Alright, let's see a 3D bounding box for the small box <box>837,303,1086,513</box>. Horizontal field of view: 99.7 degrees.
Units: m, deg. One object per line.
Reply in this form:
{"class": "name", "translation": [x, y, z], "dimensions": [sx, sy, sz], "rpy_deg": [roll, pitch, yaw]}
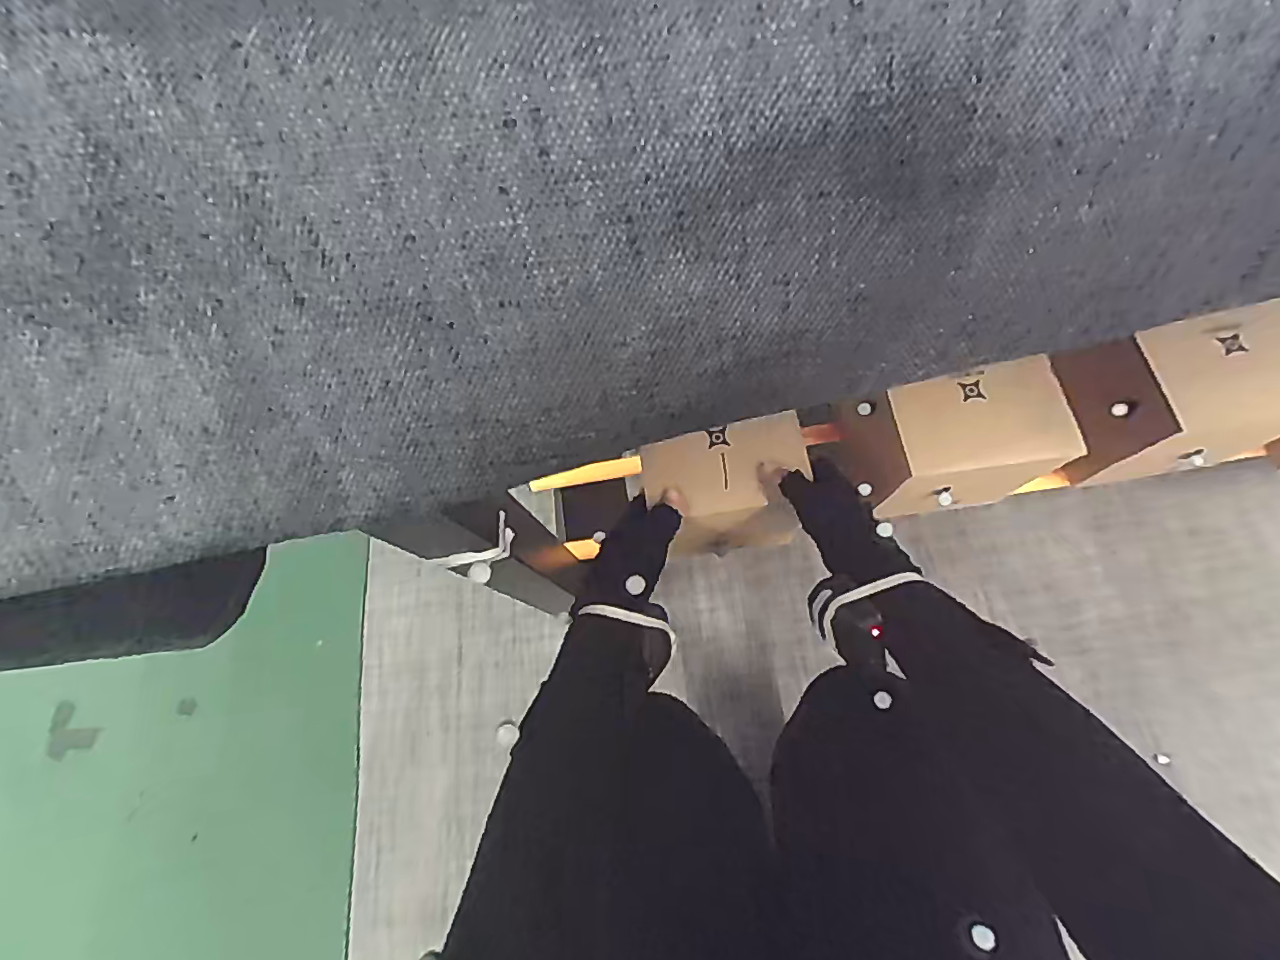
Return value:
{"class": "small box", "translation": [0.342, -0.068, 0.617], "dimensions": [0.168, 0.176, 0.179], "rpy_deg": [-8, 70, 4]}
